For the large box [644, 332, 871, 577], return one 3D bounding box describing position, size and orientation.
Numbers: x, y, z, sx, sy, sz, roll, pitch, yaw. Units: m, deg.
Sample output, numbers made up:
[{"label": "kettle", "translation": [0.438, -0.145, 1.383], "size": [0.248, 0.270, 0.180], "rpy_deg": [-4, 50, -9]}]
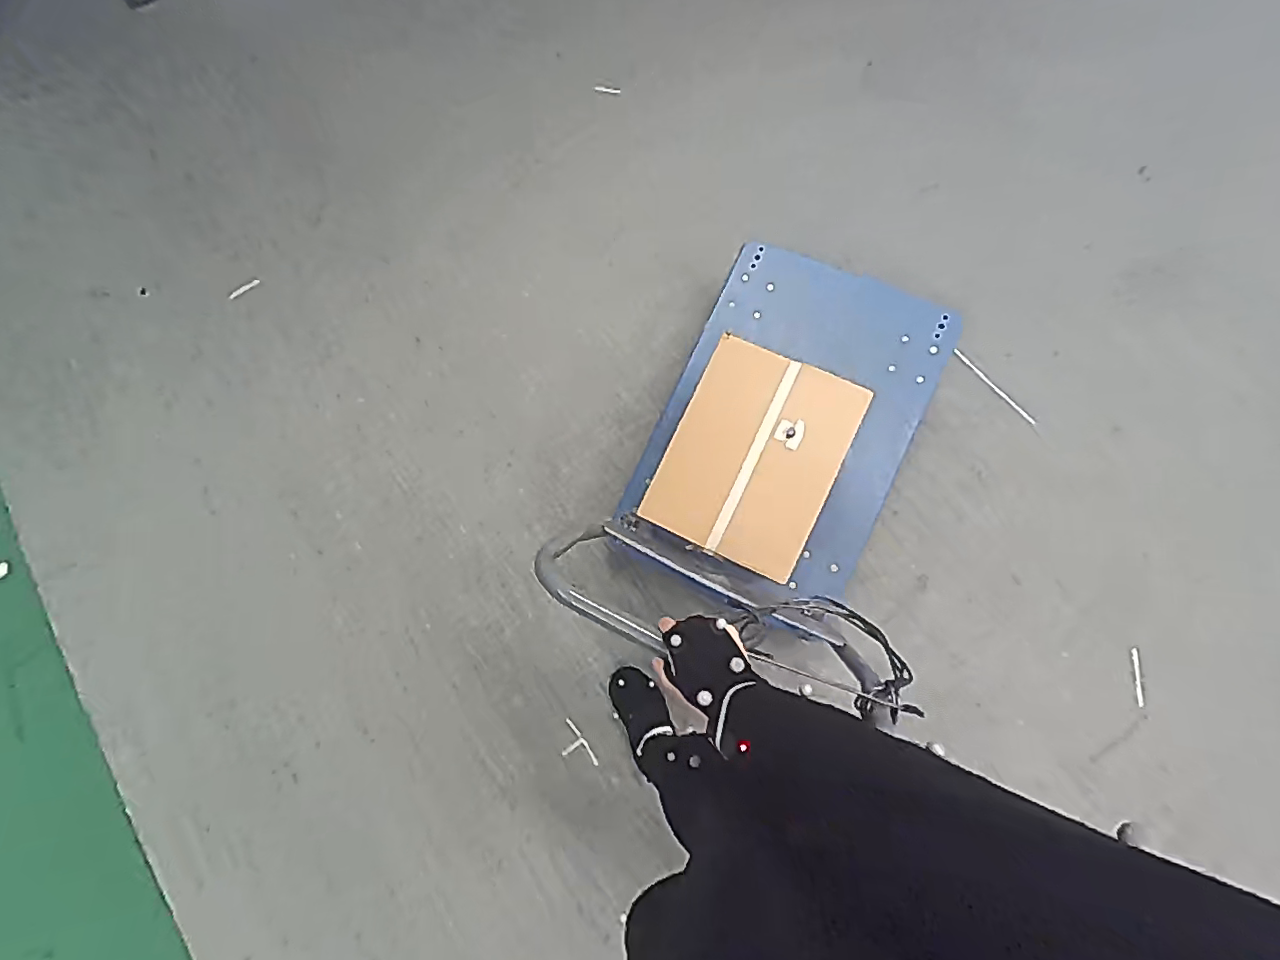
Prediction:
[{"label": "large box", "translation": [0.244, -0.036, 1.187], "size": [0.320, 0.320, 0.408], "rpy_deg": [26, 87, 10]}]
